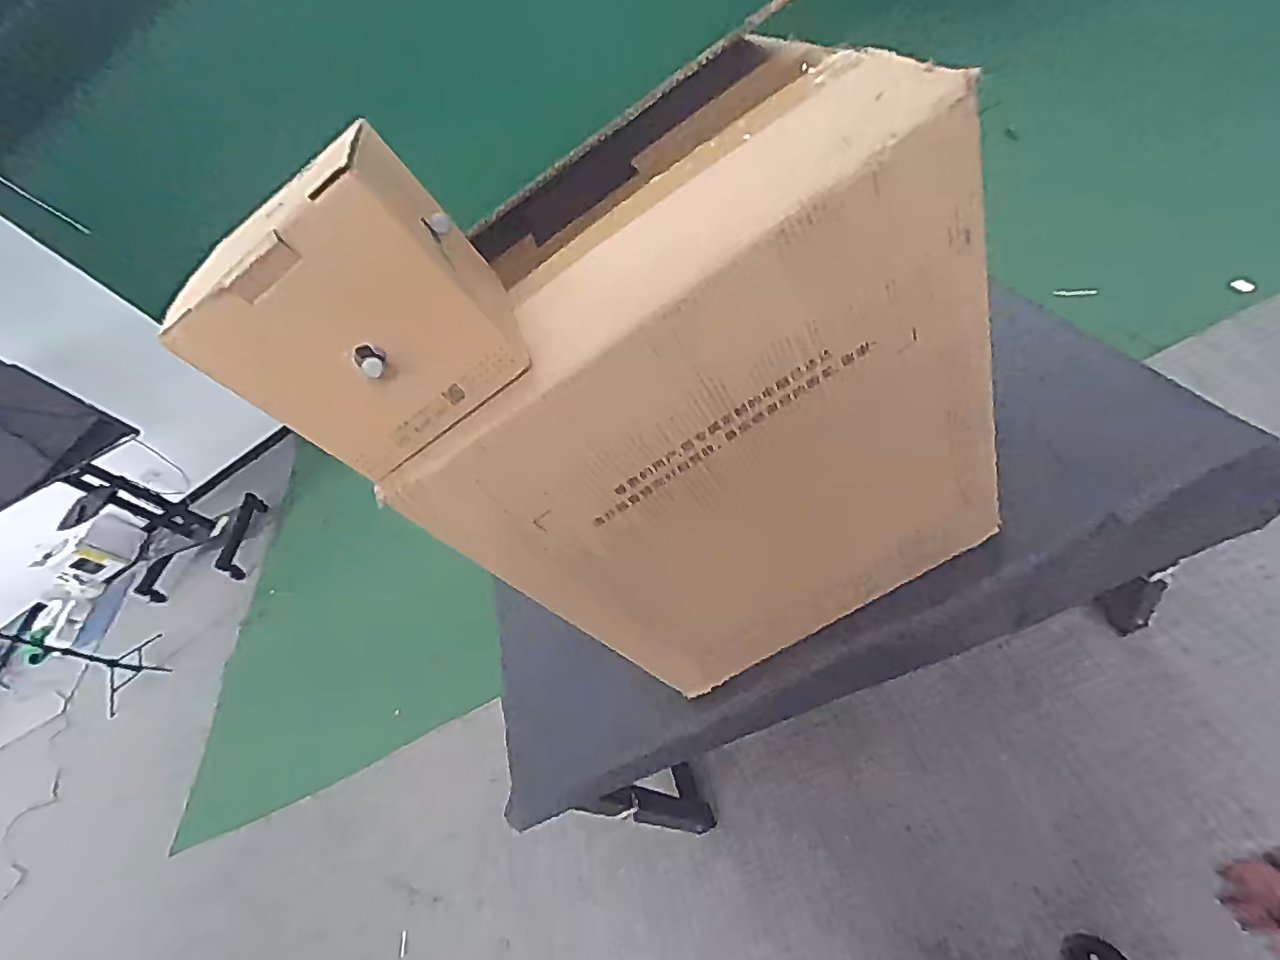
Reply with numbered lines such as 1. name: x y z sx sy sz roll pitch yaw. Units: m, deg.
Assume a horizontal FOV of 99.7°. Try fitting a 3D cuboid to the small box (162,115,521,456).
1. small box: -0.216 -0.143 0.434 0.168 0.176 0.179 -34 45 8
